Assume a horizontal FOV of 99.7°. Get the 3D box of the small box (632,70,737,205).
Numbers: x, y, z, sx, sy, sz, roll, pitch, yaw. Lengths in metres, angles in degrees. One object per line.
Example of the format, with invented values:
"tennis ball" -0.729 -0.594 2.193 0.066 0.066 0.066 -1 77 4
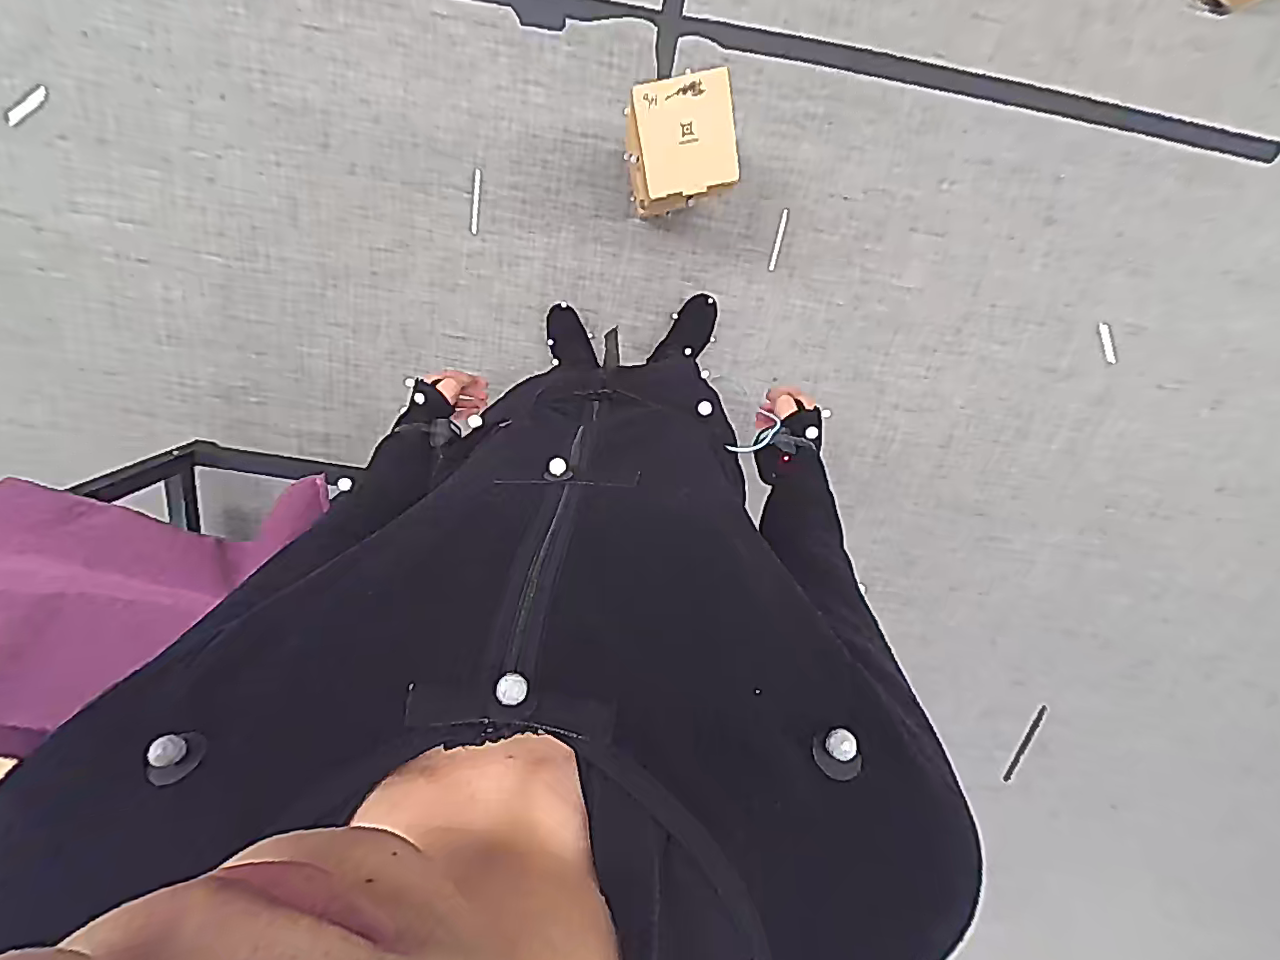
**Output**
"small box" 0.080 -0.626 1.013 0.168 0.176 0.179 -10 112 2
